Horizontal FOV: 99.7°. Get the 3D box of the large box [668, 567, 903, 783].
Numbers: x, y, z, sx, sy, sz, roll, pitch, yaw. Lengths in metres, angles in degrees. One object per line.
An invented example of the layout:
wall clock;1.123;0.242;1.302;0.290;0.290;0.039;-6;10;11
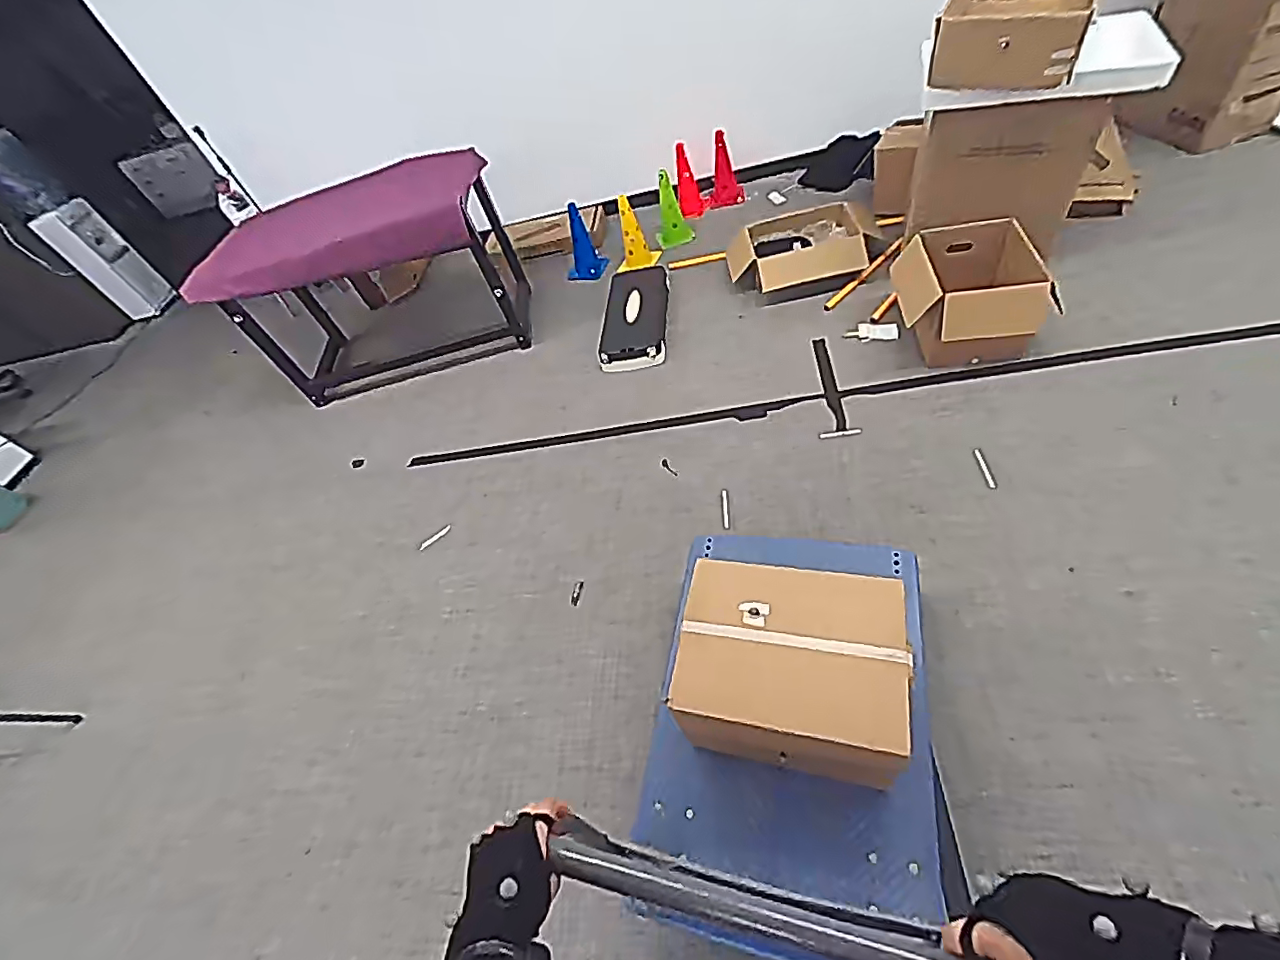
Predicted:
large box;0.310;0.404;1.133;0.408;0.320;0.320;2;52;20
